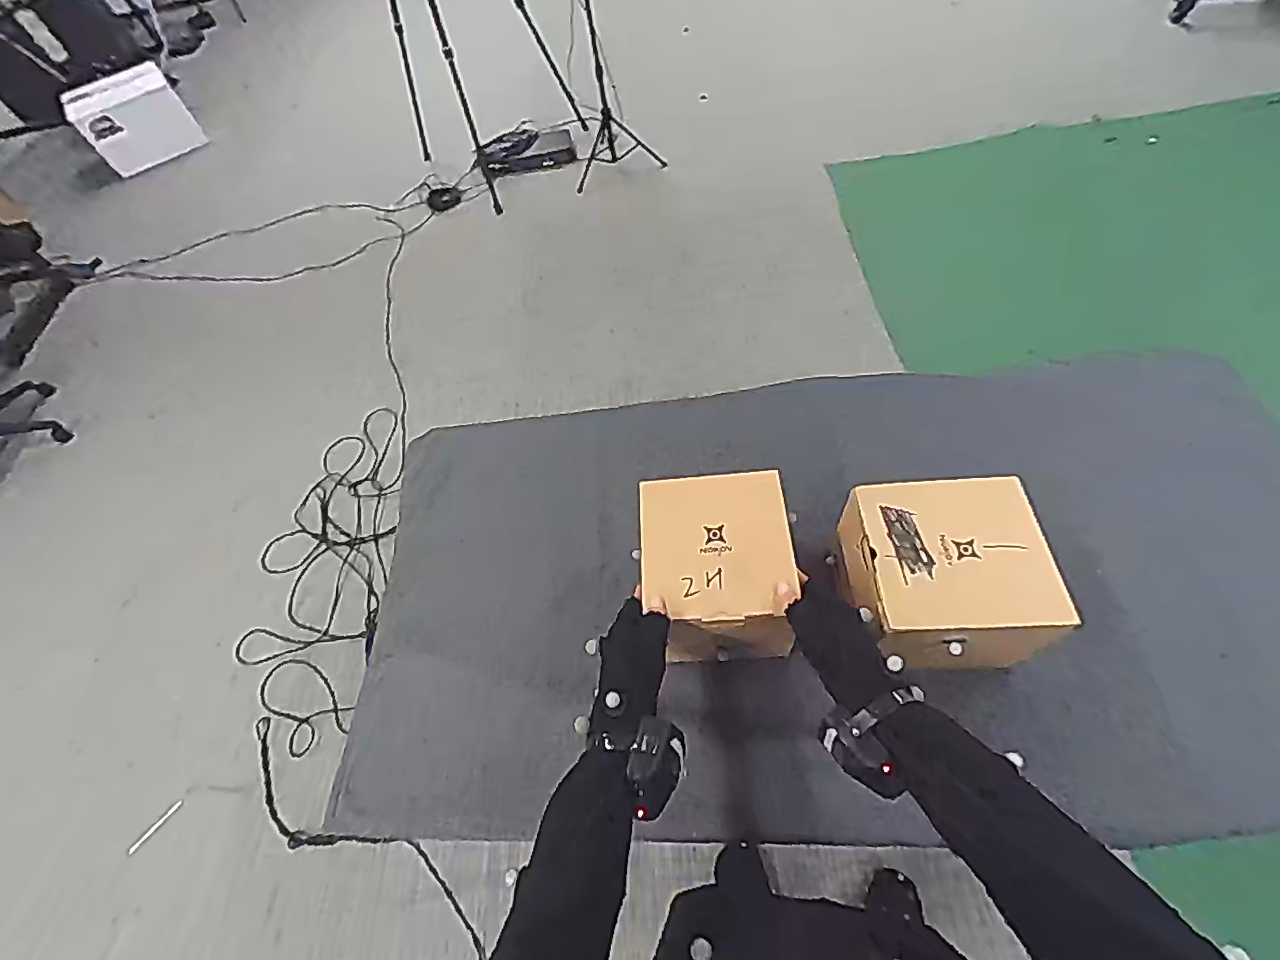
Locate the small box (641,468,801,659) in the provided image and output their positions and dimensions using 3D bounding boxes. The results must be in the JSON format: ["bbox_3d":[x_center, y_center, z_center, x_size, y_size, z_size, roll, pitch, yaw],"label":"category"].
[{"bbox_3d":[0.093,0.108,0.664,0.168,0.176,0.179,-6,58,7],"label":"small box"}]
